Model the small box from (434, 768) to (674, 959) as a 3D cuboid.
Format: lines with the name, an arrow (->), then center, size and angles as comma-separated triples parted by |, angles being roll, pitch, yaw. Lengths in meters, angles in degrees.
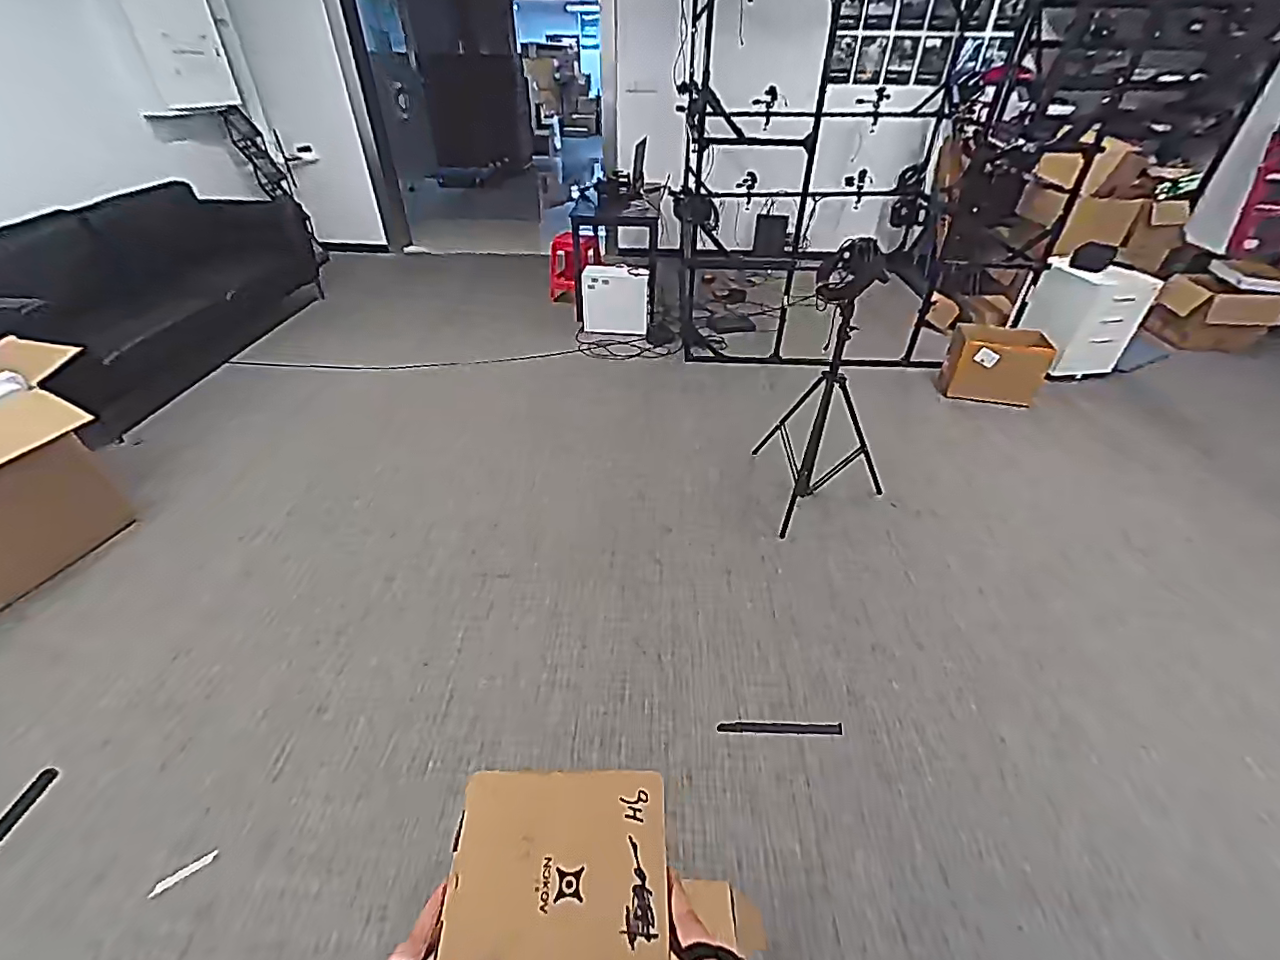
small box -> -0.063, 0.371, 0.478 | 0.179, 0.176, 0.168 | 1, 45, -2
